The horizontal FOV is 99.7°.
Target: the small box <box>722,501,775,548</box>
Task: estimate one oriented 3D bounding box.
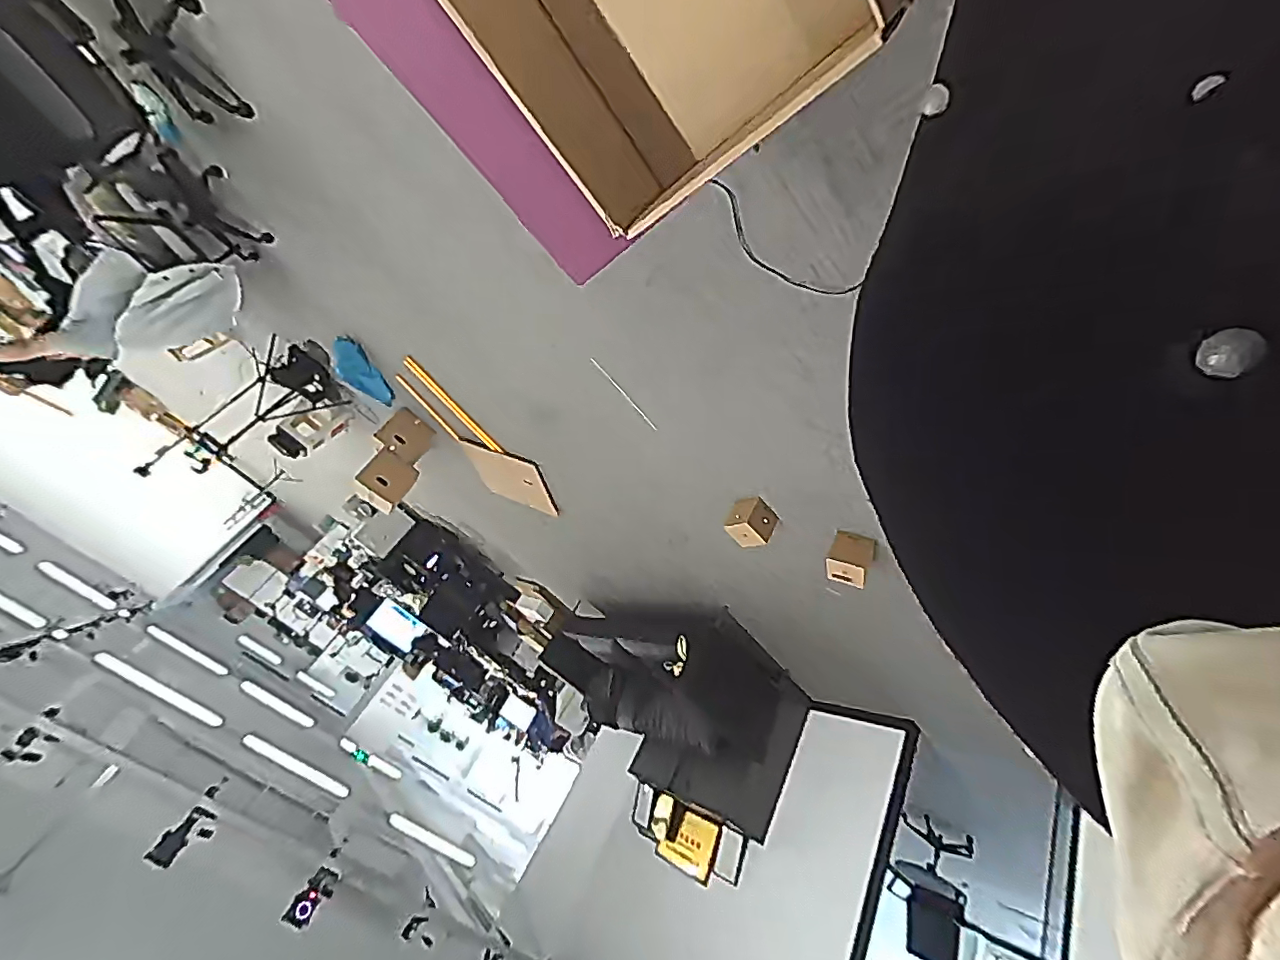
[{"bbox_3d":[0.549,0.219,2.692,0.168,0.176,0.179,45,149,-18],"label":"small box"}]
